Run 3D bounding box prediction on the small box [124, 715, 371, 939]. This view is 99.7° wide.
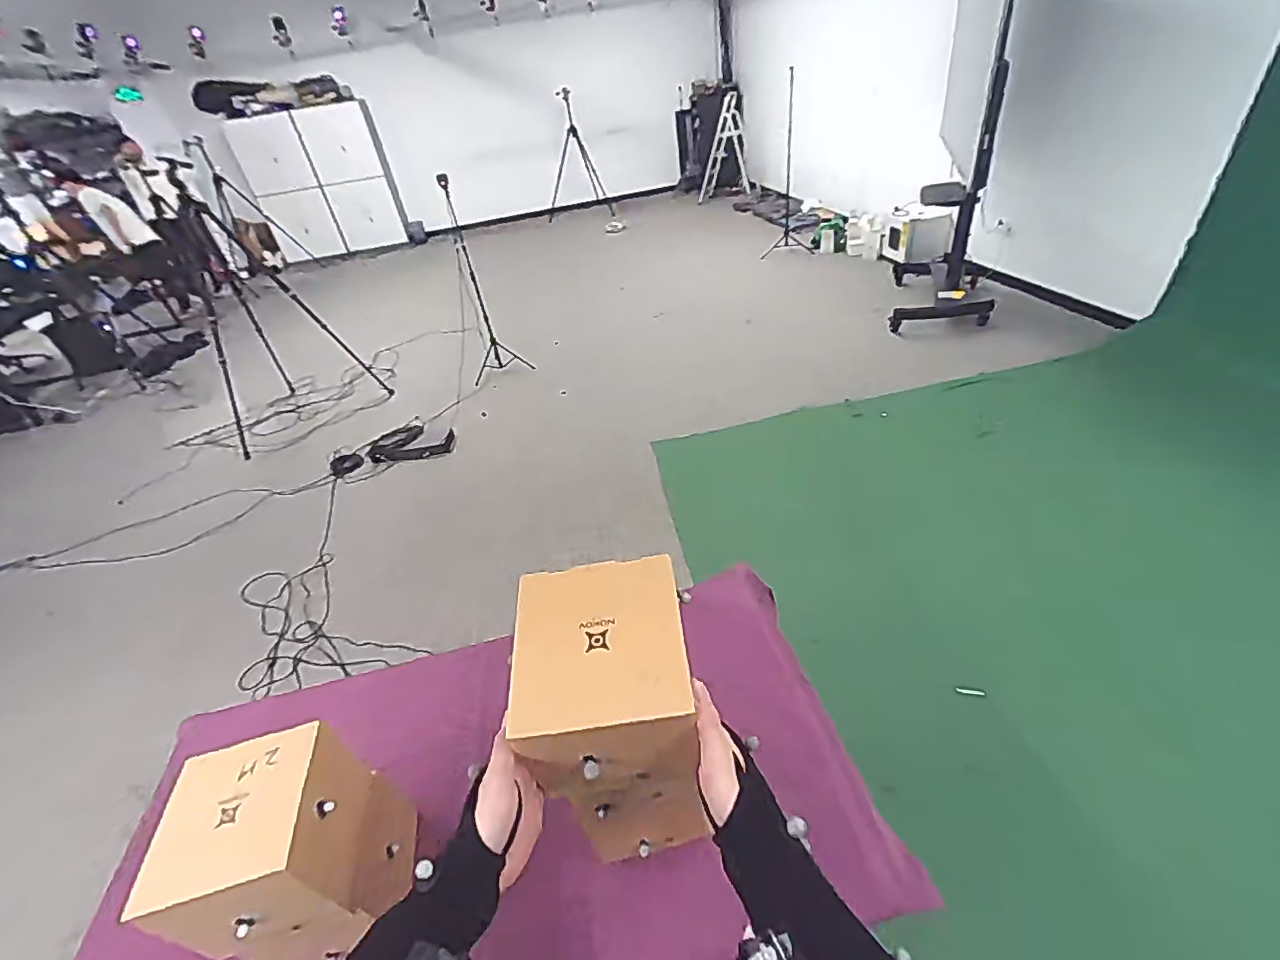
[{"bbox_3d":[-0.461,0.435,0.675,0.168,0.176,0.179,-14,38,-7],"label":"small box"}]

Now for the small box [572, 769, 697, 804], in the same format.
[{"bbox_3d":[-0.026,0.313,0.740,0.168,0.176,0.179,-14,35,-3],"label":"small box"}]

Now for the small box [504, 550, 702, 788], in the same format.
[{"bbox_3d":[-0.031,0.202,0.567,0.168,0.176,0.179,-9,43,2],"label":"small box"}]

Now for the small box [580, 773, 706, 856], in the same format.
[{"bbox_3d":[-0.002,0.440,0.840,0.168,0.176,0.179,-13,37,-3],"label":"small box"}]
